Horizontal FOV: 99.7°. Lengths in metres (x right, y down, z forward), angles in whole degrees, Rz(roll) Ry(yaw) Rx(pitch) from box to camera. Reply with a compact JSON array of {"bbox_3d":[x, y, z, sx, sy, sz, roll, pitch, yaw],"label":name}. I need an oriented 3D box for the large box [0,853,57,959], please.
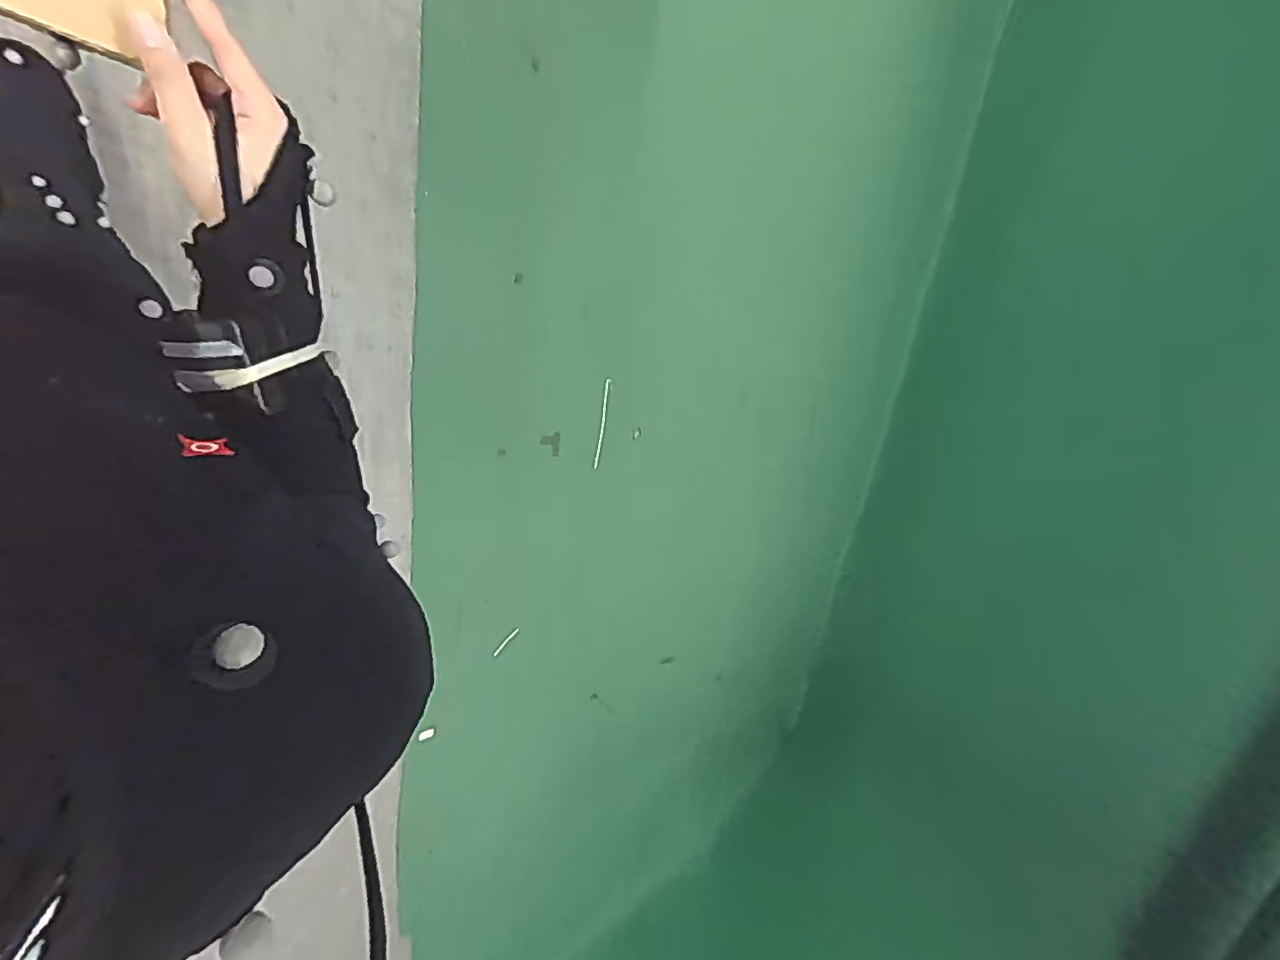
[{"bbox_3d":[-1.330,0.981,0.950,0.408,0.320,0.320,0,108,-46],"label":"large box"}]
